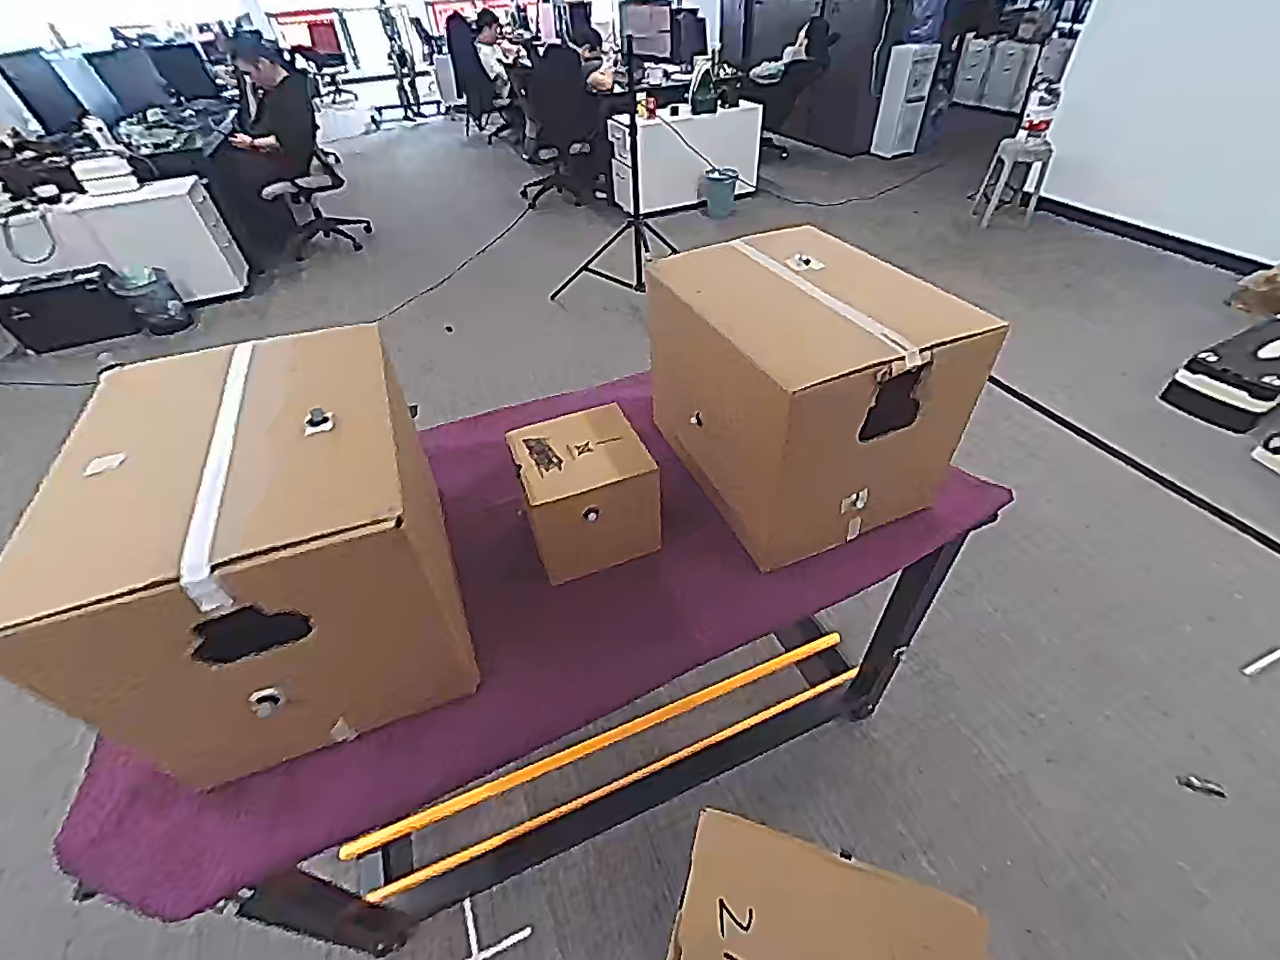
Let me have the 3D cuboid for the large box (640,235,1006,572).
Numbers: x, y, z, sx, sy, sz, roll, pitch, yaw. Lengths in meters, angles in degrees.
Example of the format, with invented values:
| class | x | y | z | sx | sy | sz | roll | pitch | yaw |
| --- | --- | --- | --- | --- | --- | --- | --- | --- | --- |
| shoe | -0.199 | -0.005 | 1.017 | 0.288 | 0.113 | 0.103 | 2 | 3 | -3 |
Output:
| class | x | y | z | sx | sy | sz | roll | pitch | yaw |
| --- | --- | --- | --- | --- | --- | --- | --- | --- | --- |
| large box | 0.228 | -0.137 | 0.834 | 0.320 | 0.320 | 0.408 | -18 | 44 | -15 |

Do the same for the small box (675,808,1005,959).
| class | x | y | z | sx | sy | sz | roll | pitch | yaw |
| --- | --- | --- | --- | --- | --- | --- | --- | --- | --- |
| small box | 0.125 | 0.344 | 0.367 | 0.179 | 0.176 | 0.168 | 6 | 60 | 24 |
